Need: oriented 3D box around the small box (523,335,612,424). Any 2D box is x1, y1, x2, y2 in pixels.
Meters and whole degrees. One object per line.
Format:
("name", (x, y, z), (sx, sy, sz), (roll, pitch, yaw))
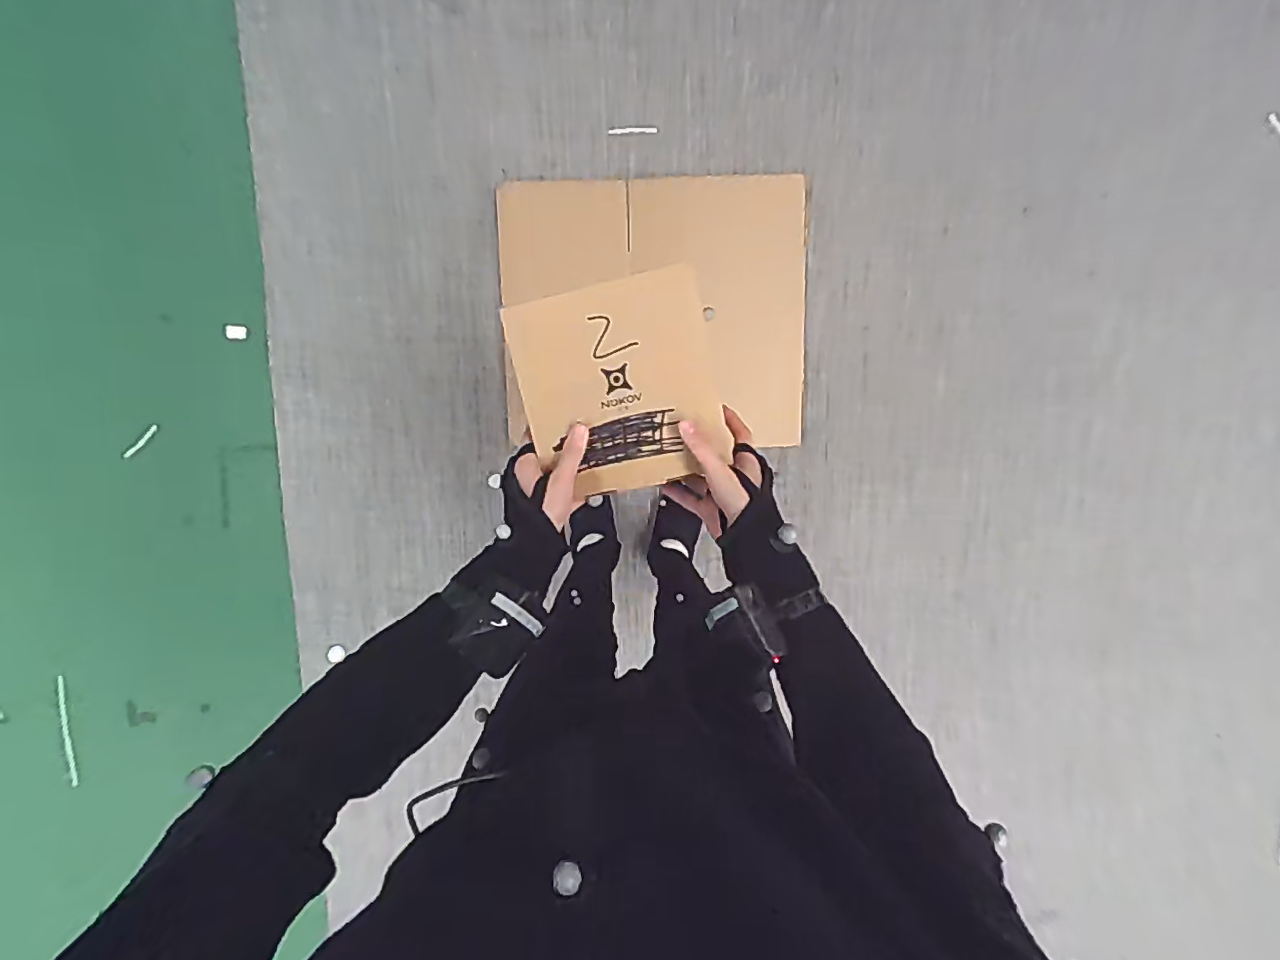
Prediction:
("small box", (-0.151, -0.216, 1.187), (0.168, 0.176, 0.179), (-2, 96, 1))
